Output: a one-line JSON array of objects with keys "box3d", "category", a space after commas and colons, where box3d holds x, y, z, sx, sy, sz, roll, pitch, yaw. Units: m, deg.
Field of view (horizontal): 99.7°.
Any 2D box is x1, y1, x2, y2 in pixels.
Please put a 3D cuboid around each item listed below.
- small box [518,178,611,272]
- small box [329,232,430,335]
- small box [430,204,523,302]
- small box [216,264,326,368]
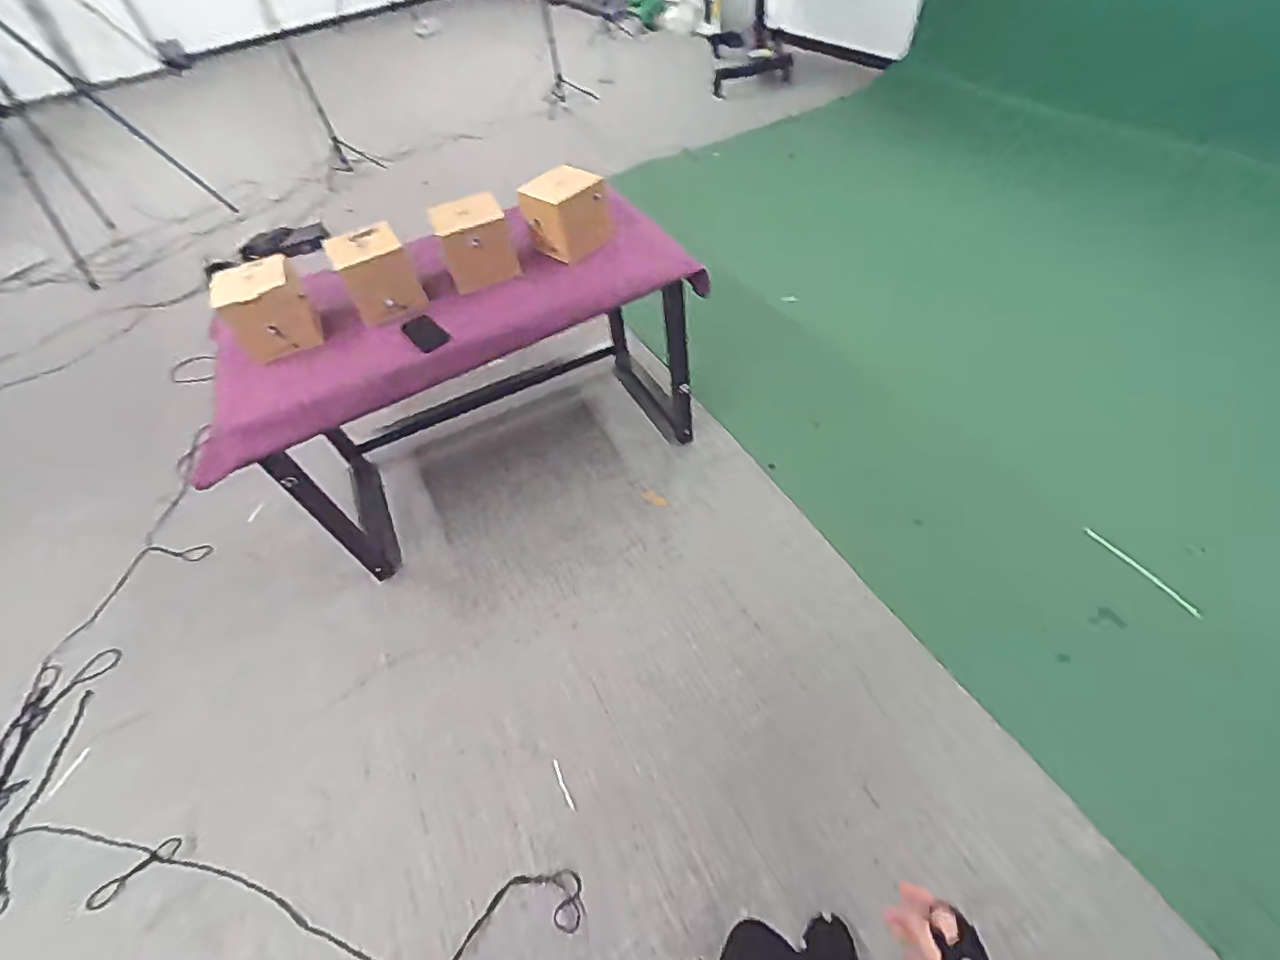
[{"box3d": [-0.200, -0.702, 1.495, 0.168, 0.176, 0.179, 33, 62, 30], "category": "small box"}, {"box3d": [-0.672, -0.508, 1.402, 0.168, 0.176, 0.179, -28, 53, -14], "category": "small box"}, {"box3d": [-0.435, -0.605, 1.449, 0.179, 0.176, 0.168, -21, 52, -9], "category": "small box"}, {"box3d": [-0.911, -0.401, 1.348, 0.168, 0.176, 0.179, -23, 52, -11], "category": "small box"}]
